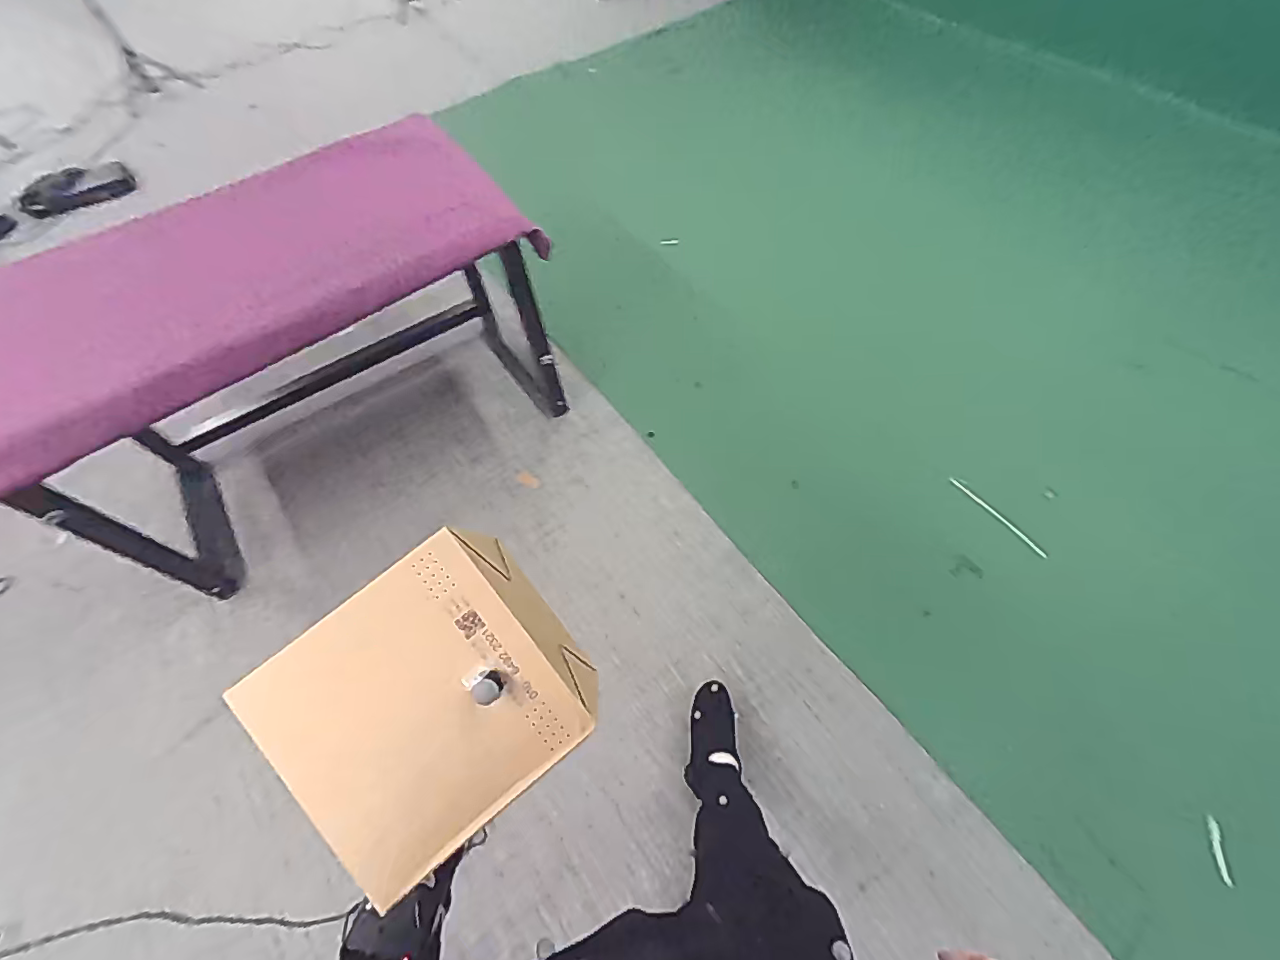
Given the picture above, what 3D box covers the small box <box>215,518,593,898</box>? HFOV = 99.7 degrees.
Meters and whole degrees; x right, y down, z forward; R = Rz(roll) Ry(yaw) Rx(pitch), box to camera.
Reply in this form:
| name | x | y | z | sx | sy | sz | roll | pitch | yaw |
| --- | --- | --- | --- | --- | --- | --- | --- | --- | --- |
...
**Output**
| name | x | y | z | sx | sy | sz | roll | pitch | yaw |
| --- | --- | --- | --- | --- | --- | --- | --- | --- | --- |
| small box | -0.149 | 0.145 | 0.414 | 0.176 | 0.179 | 0.168 | -39 | 87 | -9 |
